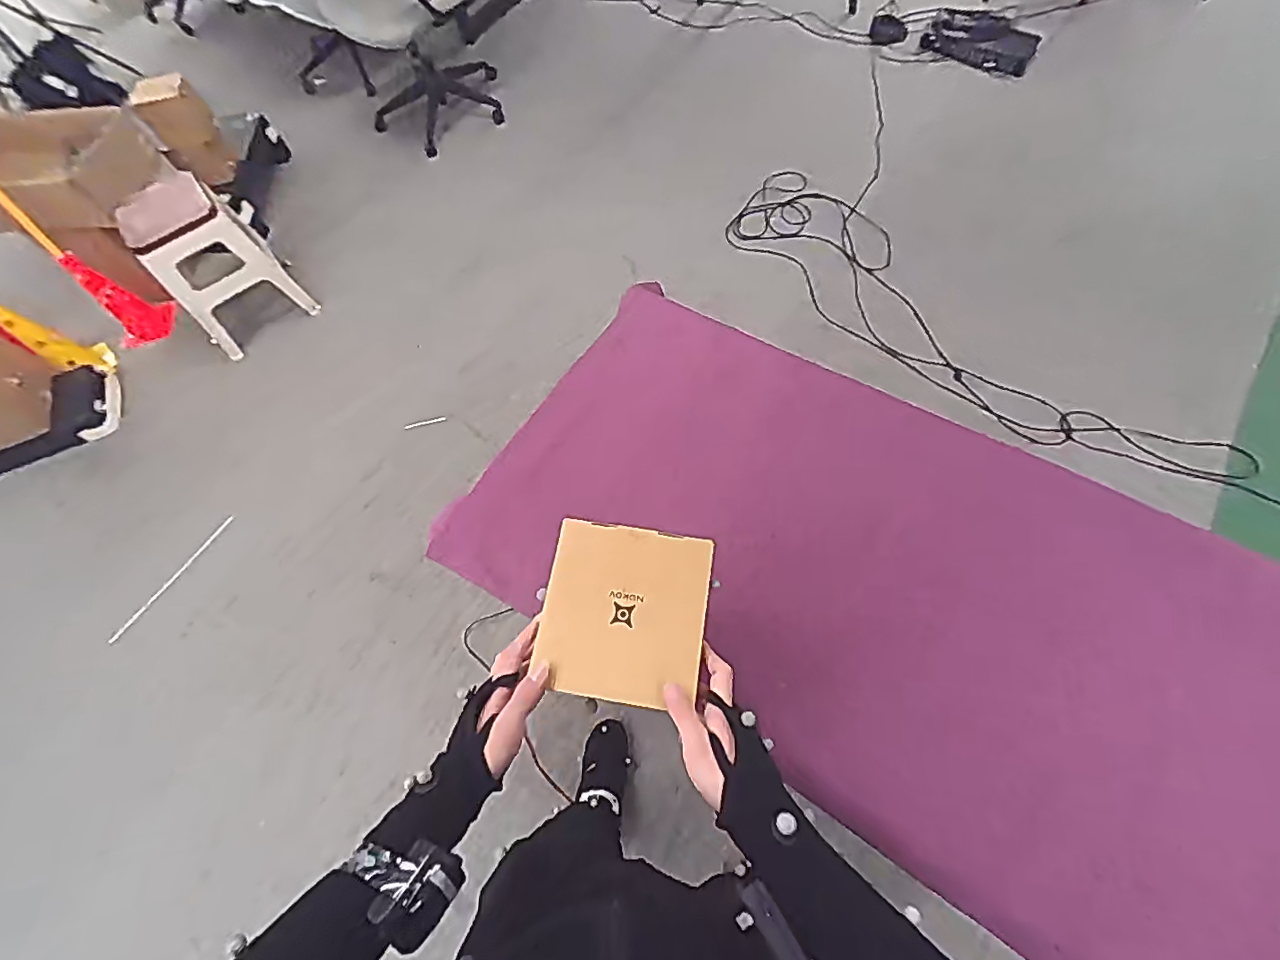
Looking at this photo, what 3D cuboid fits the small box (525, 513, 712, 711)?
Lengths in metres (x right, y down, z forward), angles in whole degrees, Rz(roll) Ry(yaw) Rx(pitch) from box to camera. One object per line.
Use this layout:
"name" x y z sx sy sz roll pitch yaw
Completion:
"small box" -0.016 0.157 0.621 0.168 0.176 0.179 9 67 5
